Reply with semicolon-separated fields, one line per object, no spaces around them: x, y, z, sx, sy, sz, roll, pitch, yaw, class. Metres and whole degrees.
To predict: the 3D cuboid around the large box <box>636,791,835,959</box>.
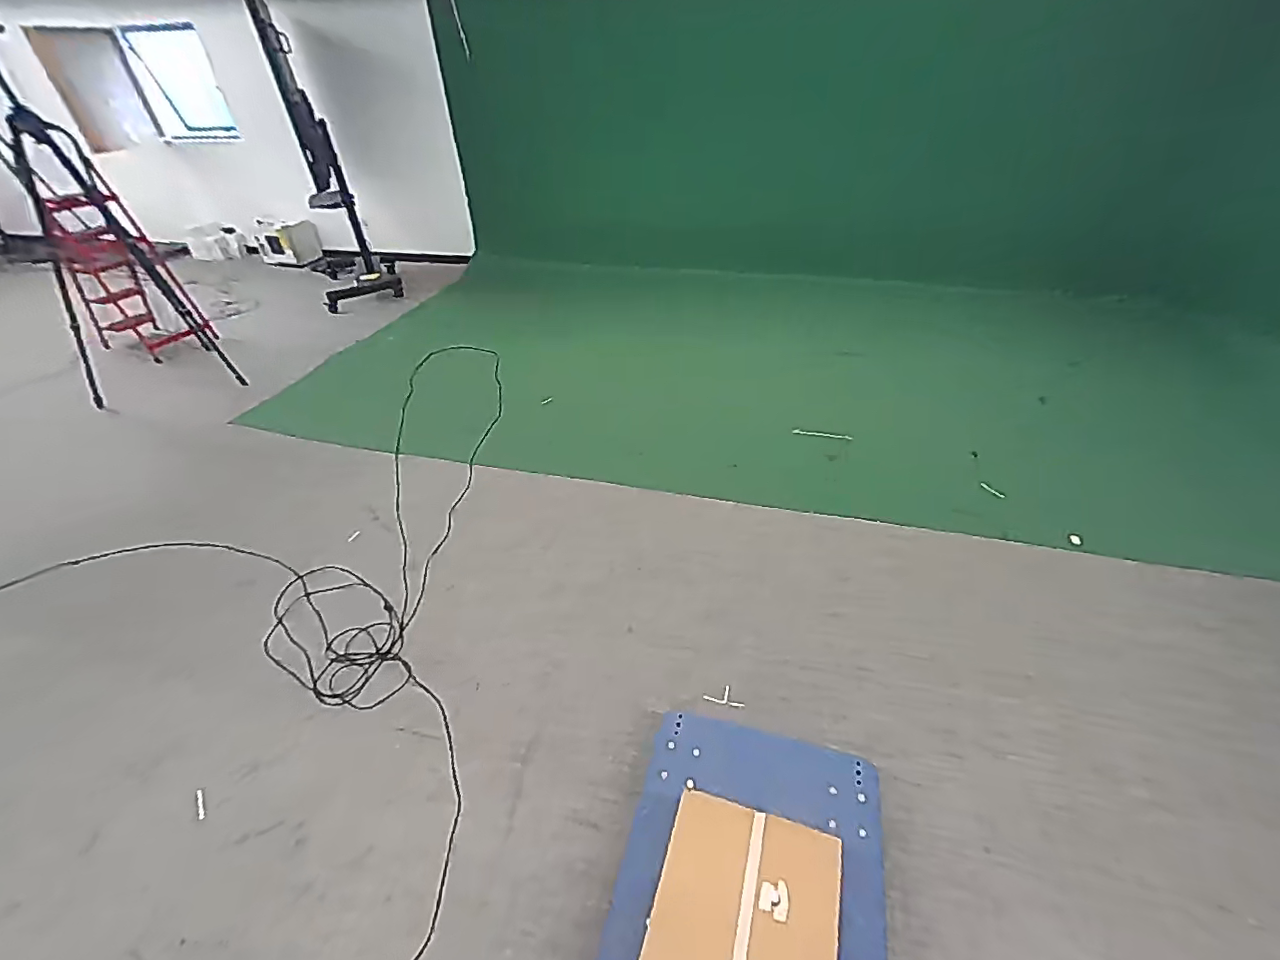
0.173;0.899;1.016;0.320;0.320;0.408;11;40;15;large box
